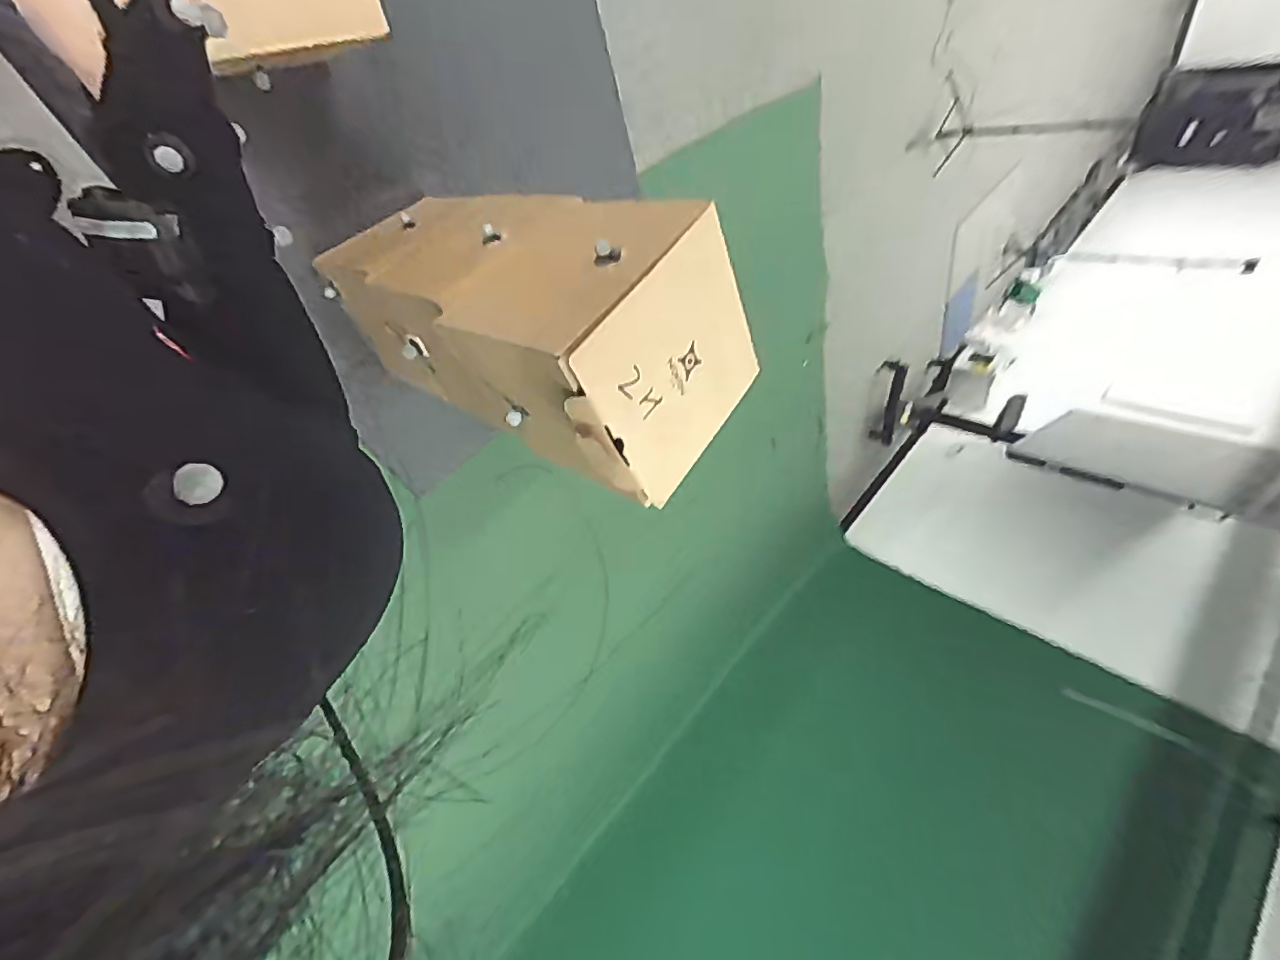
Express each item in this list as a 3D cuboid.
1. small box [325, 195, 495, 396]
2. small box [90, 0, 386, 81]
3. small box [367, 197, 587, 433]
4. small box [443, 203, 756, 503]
[{"bbox_3d":[-0.256,-0.233,0.673,0.179,0.176,0.168,-46,138,-25],"label":"small box"},{"bbox_3d":[-0.355,-0.446,0.443,0.179,0.176,0.168,-39,135,-30],"label":"small box"},{"bbox_3d":[-0.143,-0.179,0.569,0.179,0.176,0.168,-47,137,-22],"label":"small box"},{"bbox_3d":[-0.030,-0.116,0.467,0.179,0.176,0.168,-50,138,-19],"label":"small box"}]
